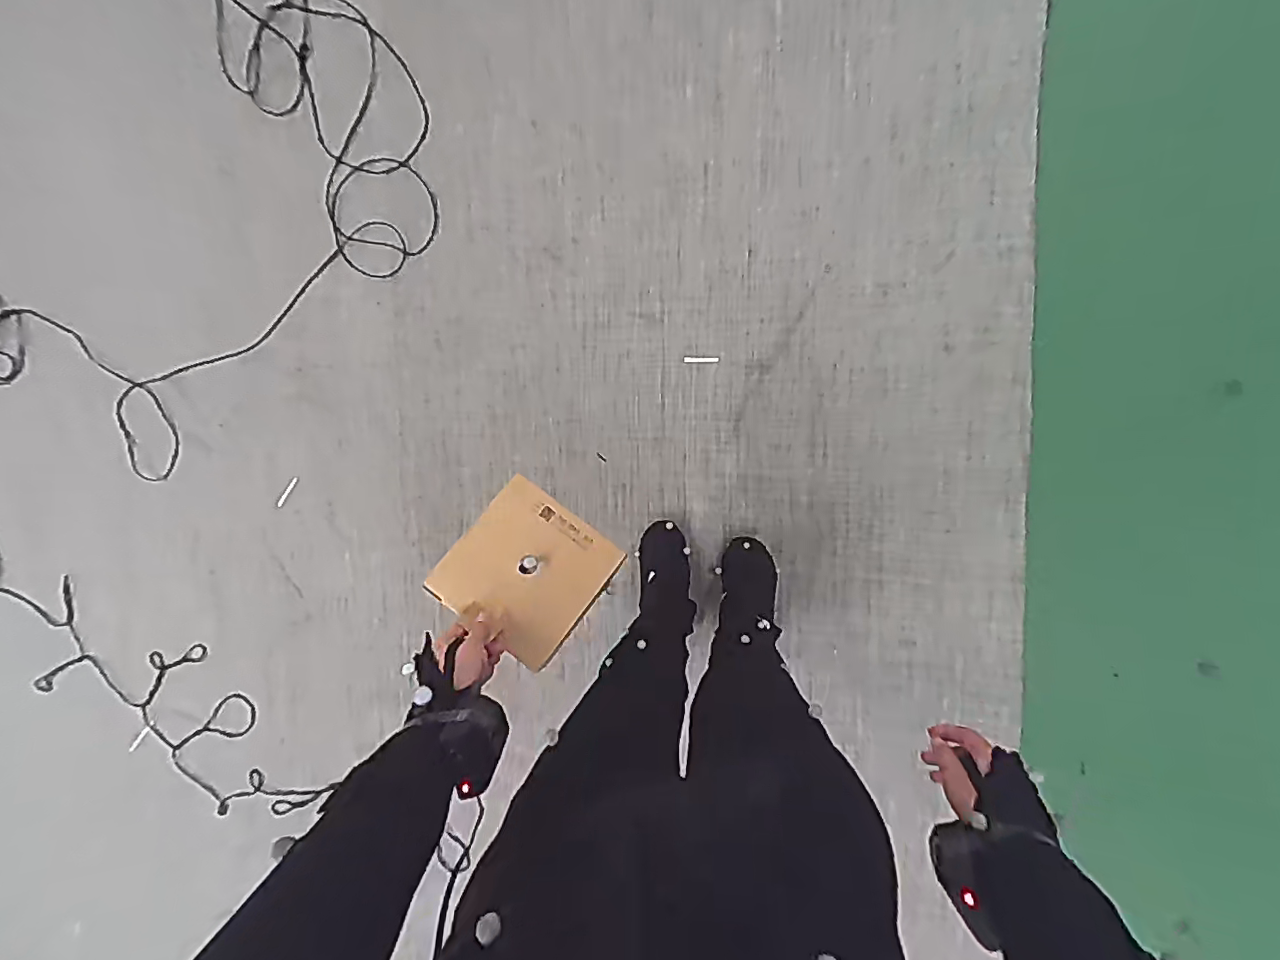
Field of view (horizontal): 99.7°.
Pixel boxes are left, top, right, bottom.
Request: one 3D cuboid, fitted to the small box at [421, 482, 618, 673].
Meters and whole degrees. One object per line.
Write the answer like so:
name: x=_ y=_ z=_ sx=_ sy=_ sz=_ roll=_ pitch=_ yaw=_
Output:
small box: x=-0.143 y=0.124 z=0.699 sx=0.168 sy=0.179 sz=0.176 roll=36 pitch=74 yaw=4
